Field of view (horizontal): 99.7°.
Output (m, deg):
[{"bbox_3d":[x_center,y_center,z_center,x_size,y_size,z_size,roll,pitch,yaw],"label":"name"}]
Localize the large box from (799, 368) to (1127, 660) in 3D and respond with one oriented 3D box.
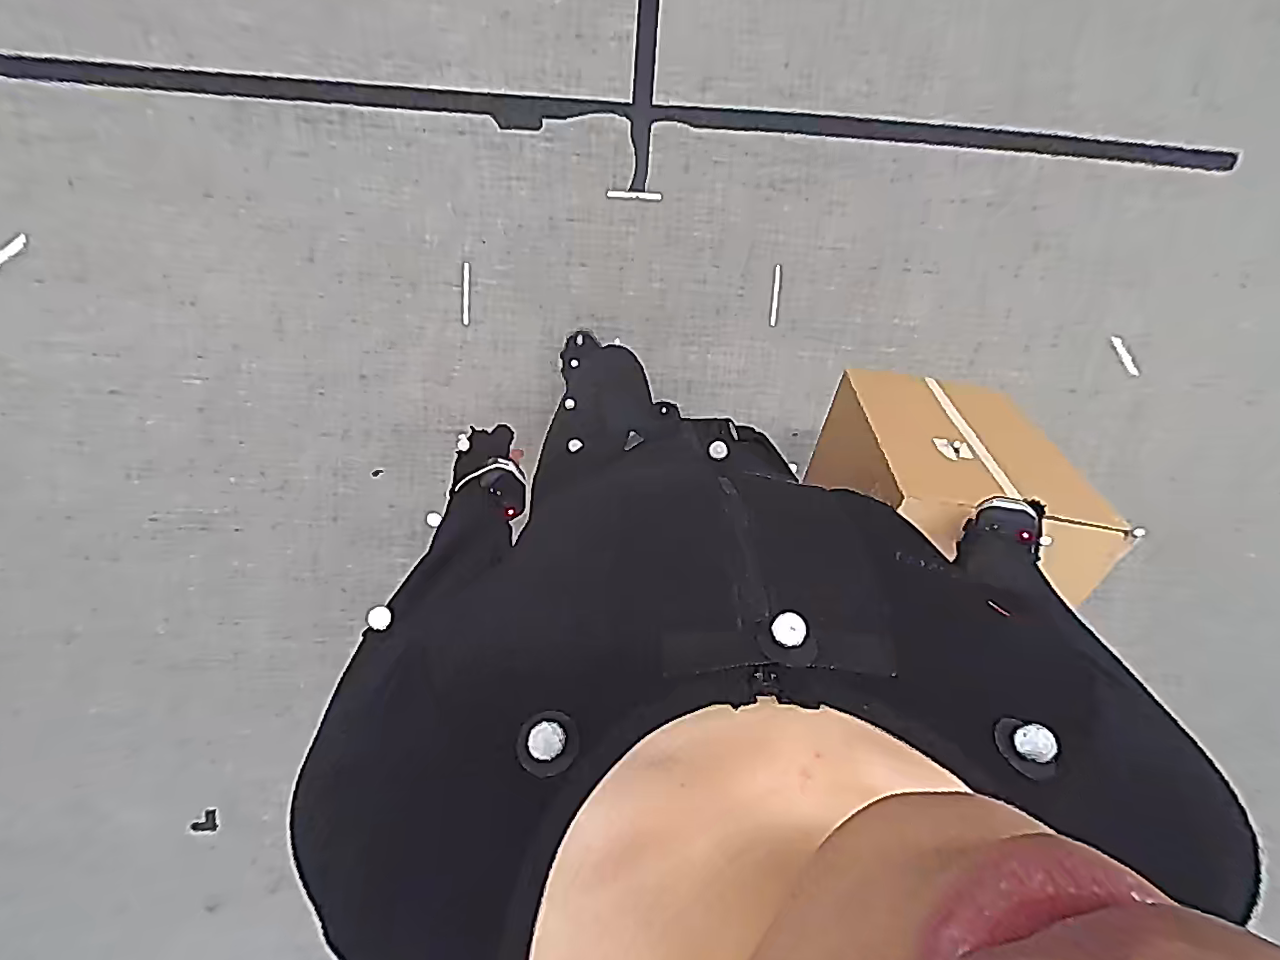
[{"bbox_3d":[0.504,0.046,0.970,0.320,0.408,0.320,8,129,1],"label":"large box"}]
